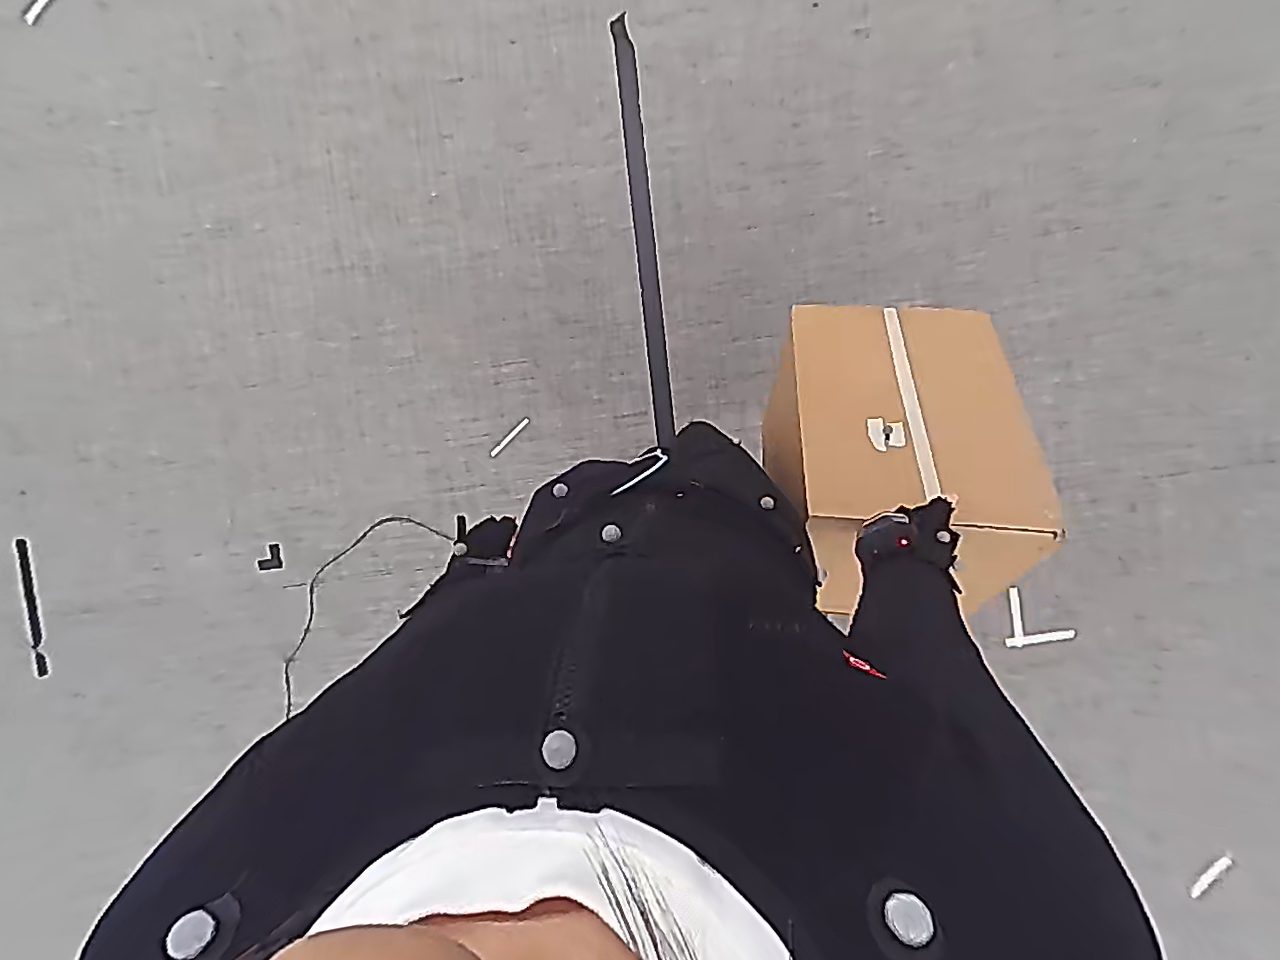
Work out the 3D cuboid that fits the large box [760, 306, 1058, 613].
[{"bbox_3d":[0.380,-0.030,0.896,0.320,0.320,0.408,3,58,6],"label":"large box"}]
